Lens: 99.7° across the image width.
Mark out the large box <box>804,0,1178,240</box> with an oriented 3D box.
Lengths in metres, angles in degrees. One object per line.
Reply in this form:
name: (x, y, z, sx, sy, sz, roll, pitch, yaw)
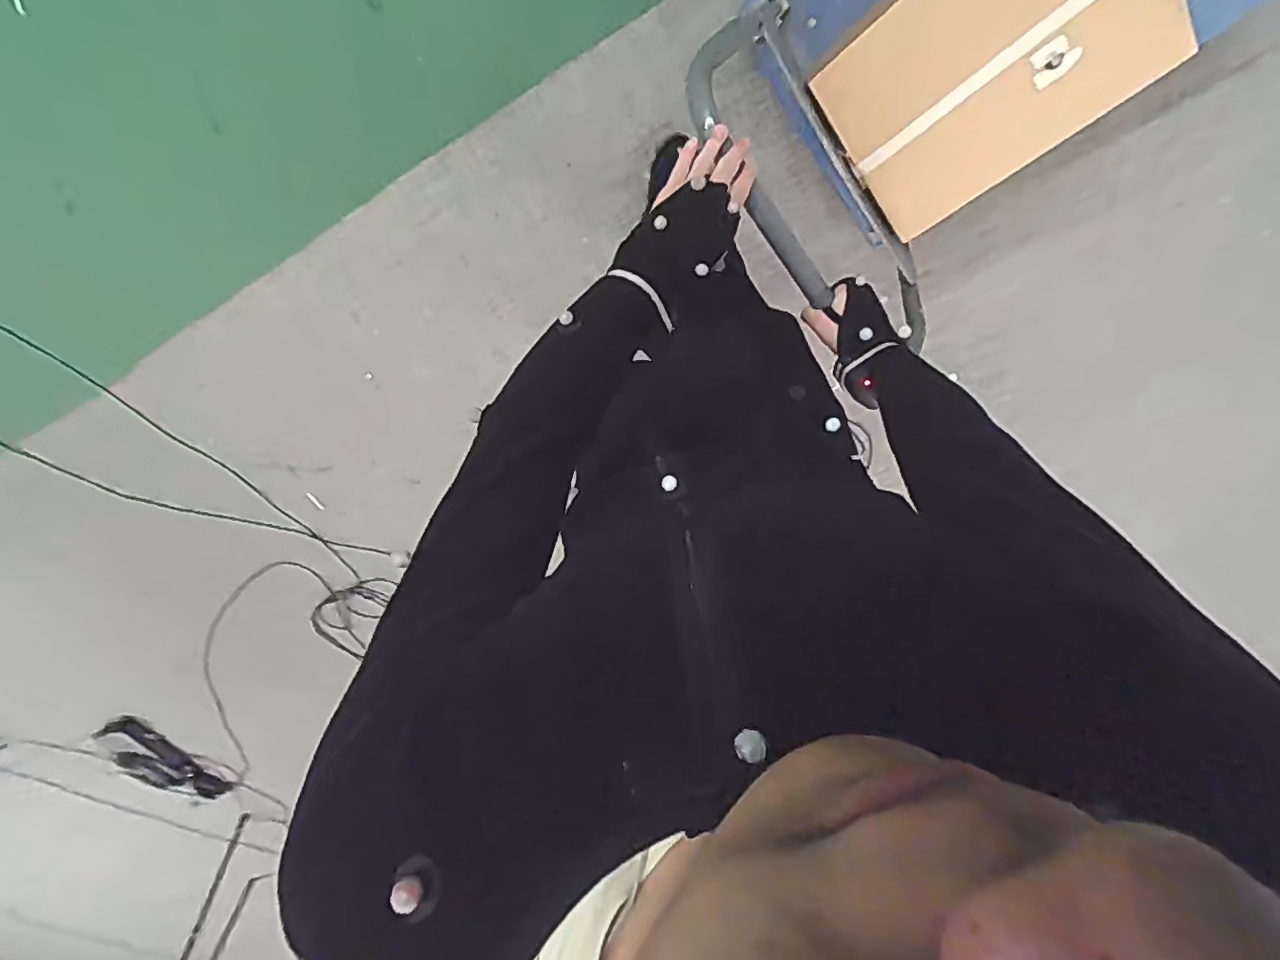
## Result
large box: (0.533, -0.698, 0.911, 0.408, 0.320, 0.320, -30, 116, 33)
